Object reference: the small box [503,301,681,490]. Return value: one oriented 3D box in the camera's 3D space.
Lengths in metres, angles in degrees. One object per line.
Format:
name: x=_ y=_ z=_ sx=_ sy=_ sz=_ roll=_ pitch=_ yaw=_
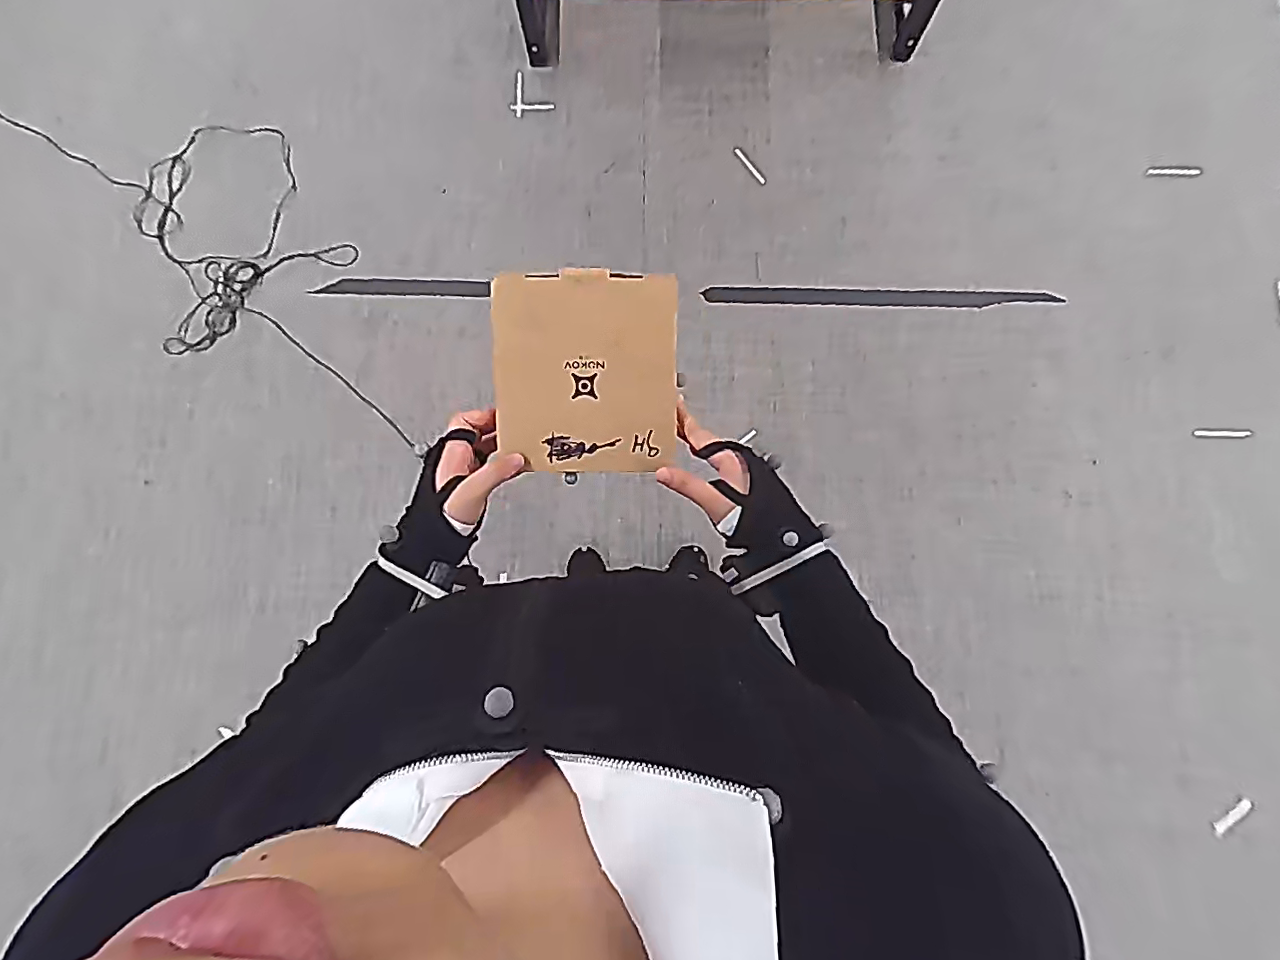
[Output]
small box: x=-0.045 y=-0.088 z=0.584 sx=0.168 sy=0.176 sz=0.179 roll=0 pitch=99 yaw=1
